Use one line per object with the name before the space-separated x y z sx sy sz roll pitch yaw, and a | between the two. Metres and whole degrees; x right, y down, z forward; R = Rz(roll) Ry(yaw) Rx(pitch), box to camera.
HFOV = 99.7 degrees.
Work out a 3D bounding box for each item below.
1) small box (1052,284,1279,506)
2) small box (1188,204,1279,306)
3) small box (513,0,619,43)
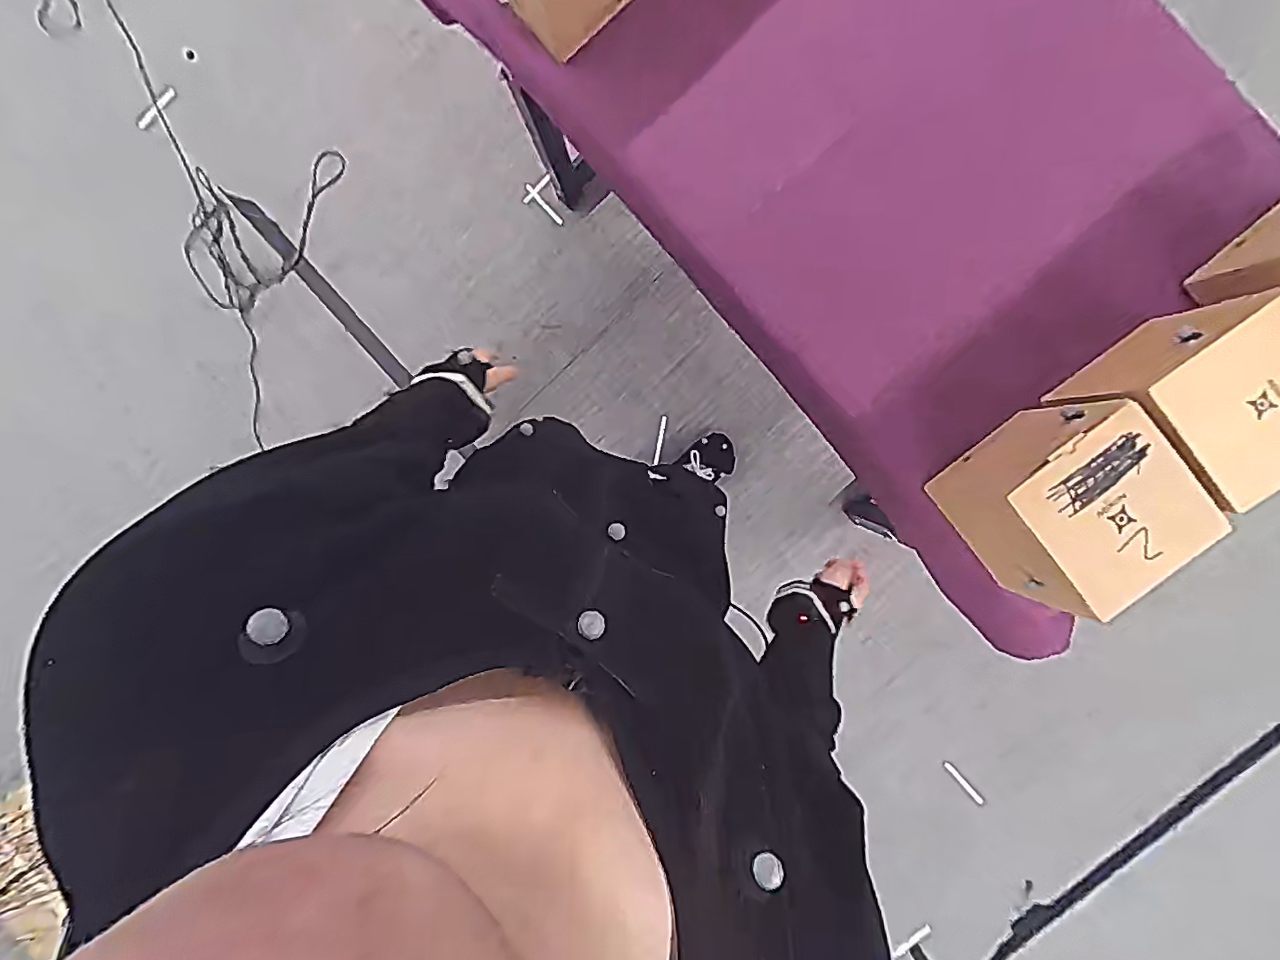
small box | 0.640 -0.090 0.636 0.179 0.176 0.168 -37 91 3
small box | 0.805 -0.238 0.611 0.168 0.176 0.179 -41 93 6
small box | -0.096 -0.657 0.615 0.168 0.176 0.179 -41 93 4
